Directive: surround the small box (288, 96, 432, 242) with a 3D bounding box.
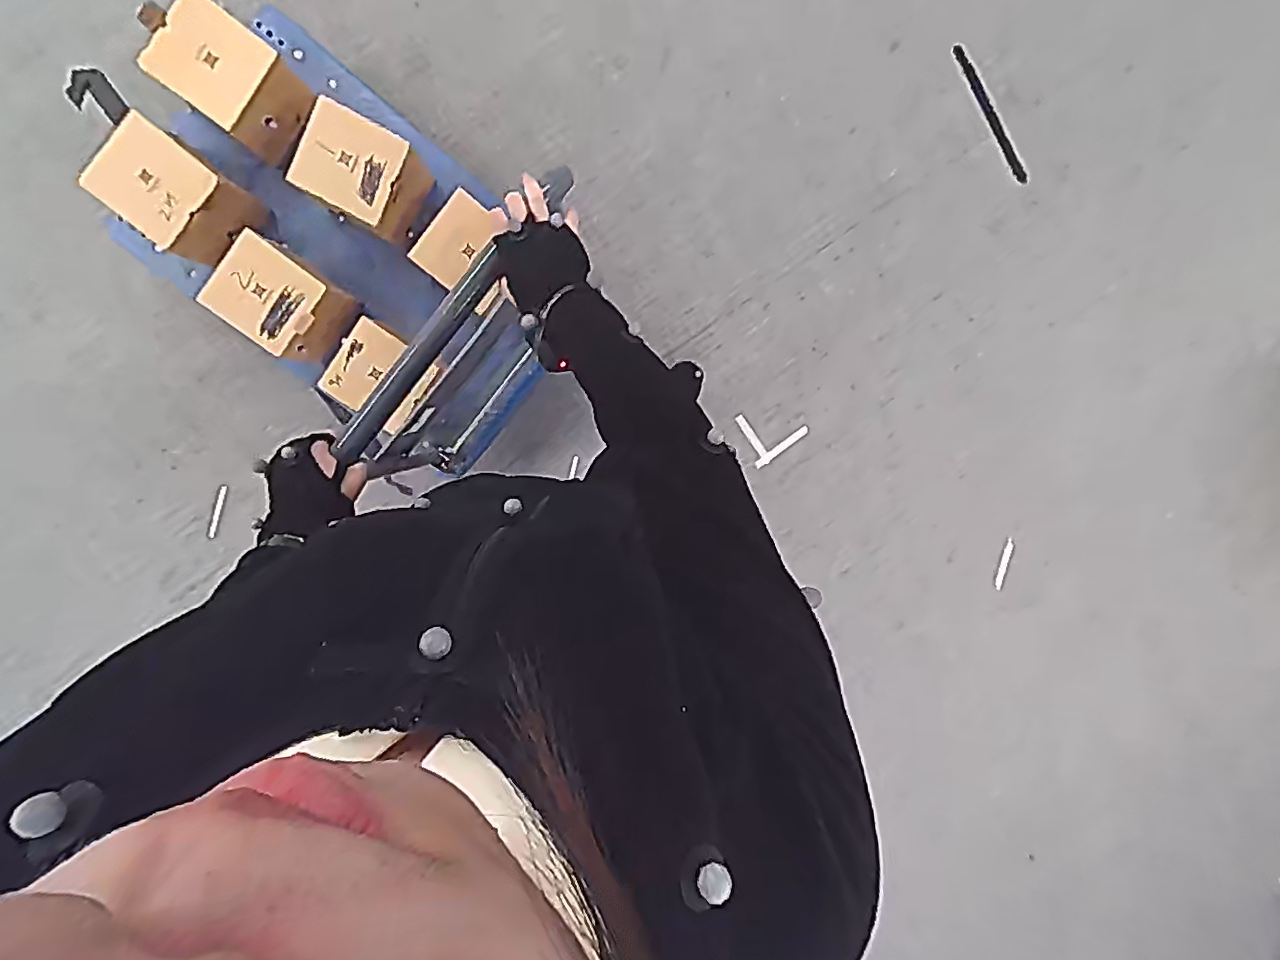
[{"bbox_3d":[-0.538,-0.595,1.068,0.179,0.176,0.168,25,95,-9],"label":"small box"}]

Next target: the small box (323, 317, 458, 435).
[{"bbox_3d":[-0.507,-0.214,1.131,0.179,0.176,0.168,34,93,-11],"label":"small box"}]

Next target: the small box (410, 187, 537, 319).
[{"bbox_3d":[-0.329,-0.452,1.114,0.179,0.176,0.168,38,93,-10],"label":"small box"}]

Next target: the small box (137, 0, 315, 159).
[{"bbox_3d":[-0.761,-0.745,1.020,0.179,0.176,0.168,34,94,-10],"label":"small box"}]

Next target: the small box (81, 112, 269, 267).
[{"bbox_3d":[-0.875,-0.540,1.037,0.179,0.176,0.168,39,93,-11],"label":"small box"}]
